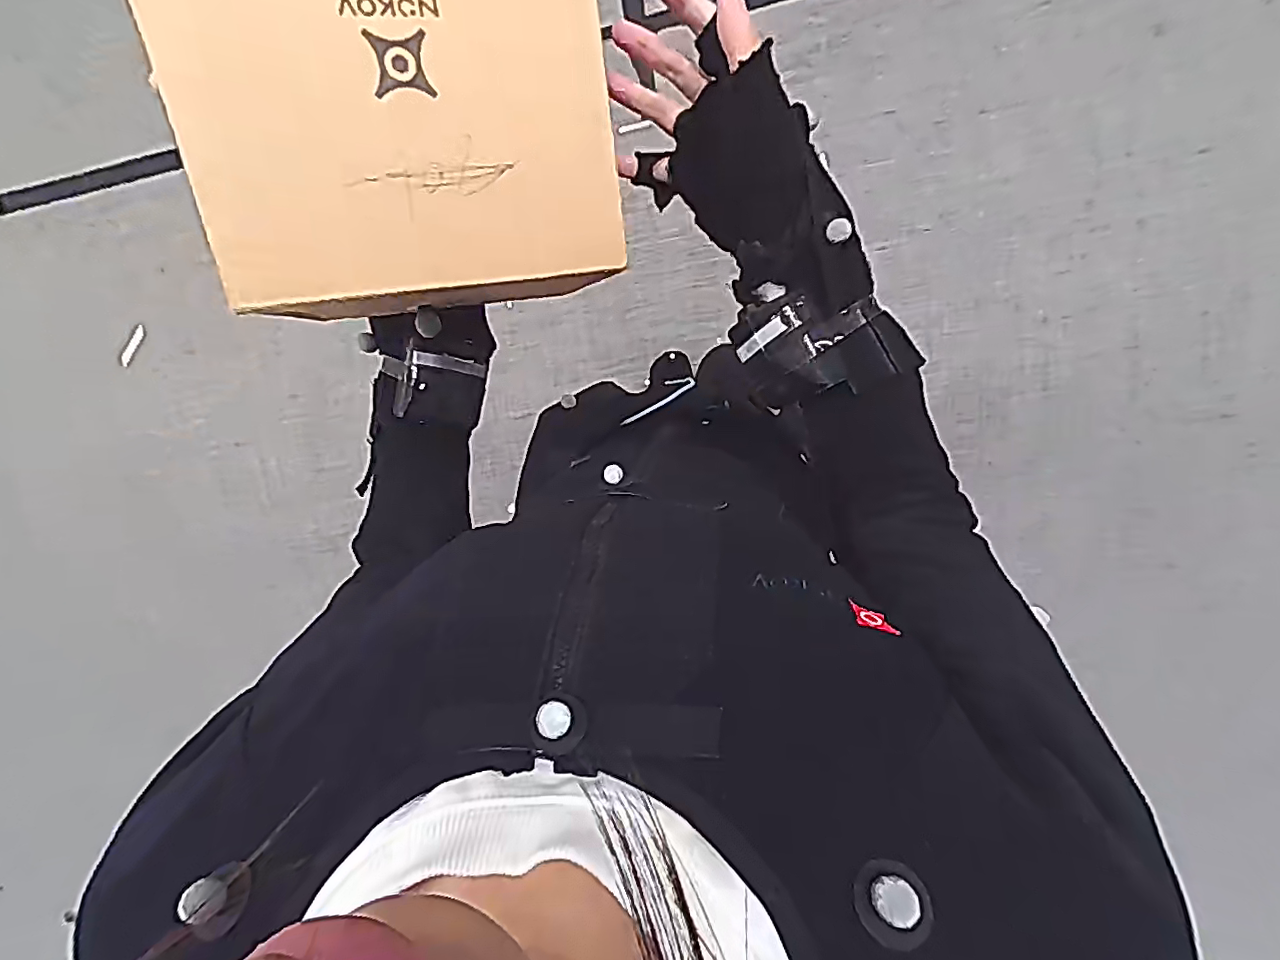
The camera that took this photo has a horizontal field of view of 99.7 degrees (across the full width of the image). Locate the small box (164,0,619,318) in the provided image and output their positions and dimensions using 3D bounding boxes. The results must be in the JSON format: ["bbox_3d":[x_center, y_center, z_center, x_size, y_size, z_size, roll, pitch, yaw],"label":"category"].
[{"bbox_3d":[-0.118,-0.190,0.298,0.168,0.176,0.179,-11,107,-13],"label":"small box"}]
